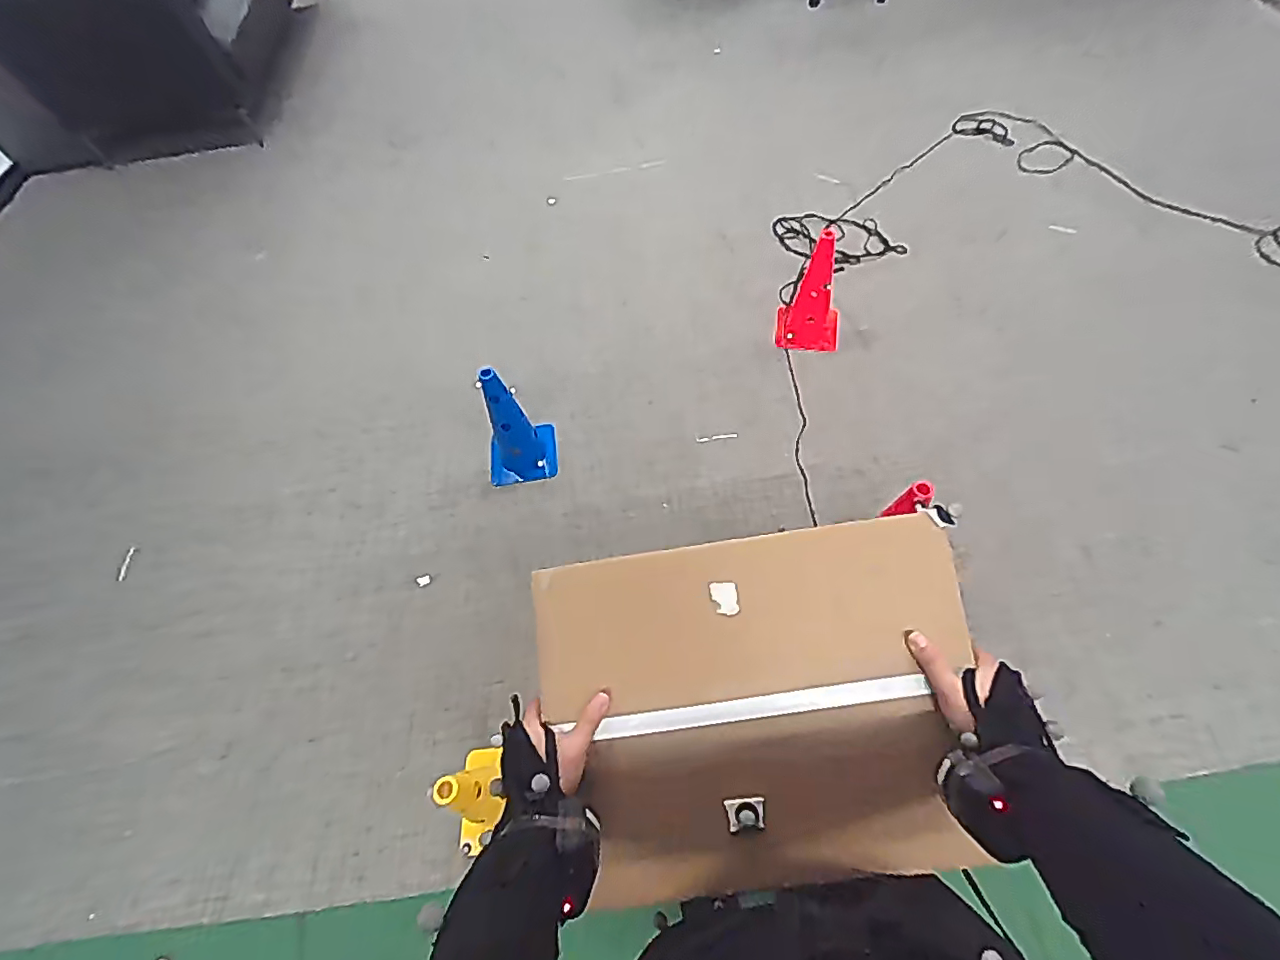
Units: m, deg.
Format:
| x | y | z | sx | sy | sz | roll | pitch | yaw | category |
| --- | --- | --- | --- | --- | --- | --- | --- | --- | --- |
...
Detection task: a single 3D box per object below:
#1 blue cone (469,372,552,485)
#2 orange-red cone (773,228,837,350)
| x | y | z | sx | sy | sz | roll | pitch | yaw | category |
| --- | --- | --- | --- | --- | --- | --- | --- | --- | --- |
| -0.380 | -0.163 | 1.504 | 0.192 | 0.380 | 0.193 | -9 | 57 | 2 | blue cone |
| 0.538 | -0.602 | 1.655 | 0.199 | 0.360 | 0.198 | 9 | 60 | 10 | orange-red cone |
